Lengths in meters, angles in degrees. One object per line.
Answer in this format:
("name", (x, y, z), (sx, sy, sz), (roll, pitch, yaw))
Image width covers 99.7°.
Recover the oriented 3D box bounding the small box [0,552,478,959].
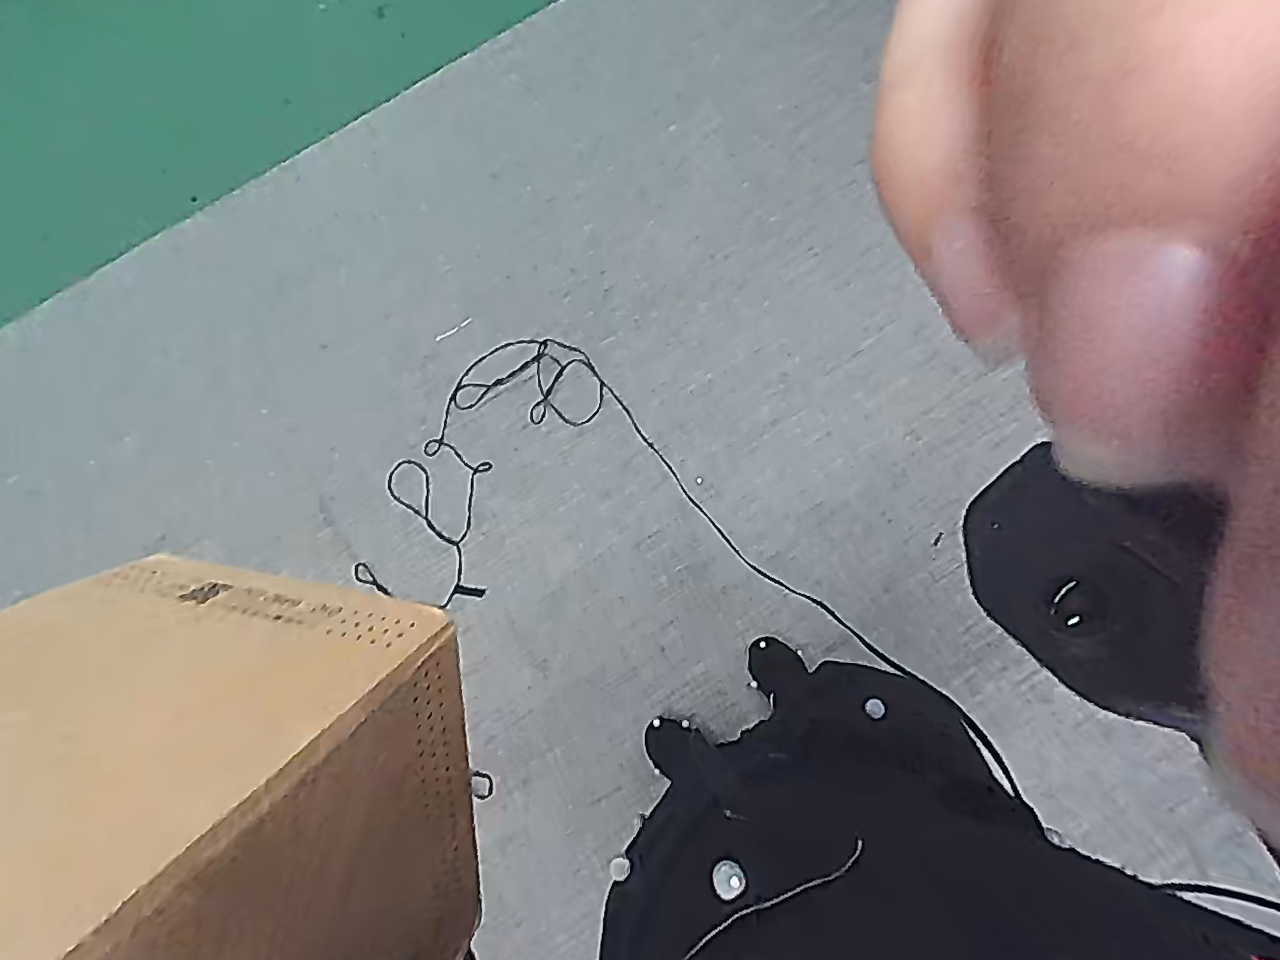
("small box", (-0.175, 0.148, 0.193), (0.168, 0.176, 0.179), (7, 109, 15))
